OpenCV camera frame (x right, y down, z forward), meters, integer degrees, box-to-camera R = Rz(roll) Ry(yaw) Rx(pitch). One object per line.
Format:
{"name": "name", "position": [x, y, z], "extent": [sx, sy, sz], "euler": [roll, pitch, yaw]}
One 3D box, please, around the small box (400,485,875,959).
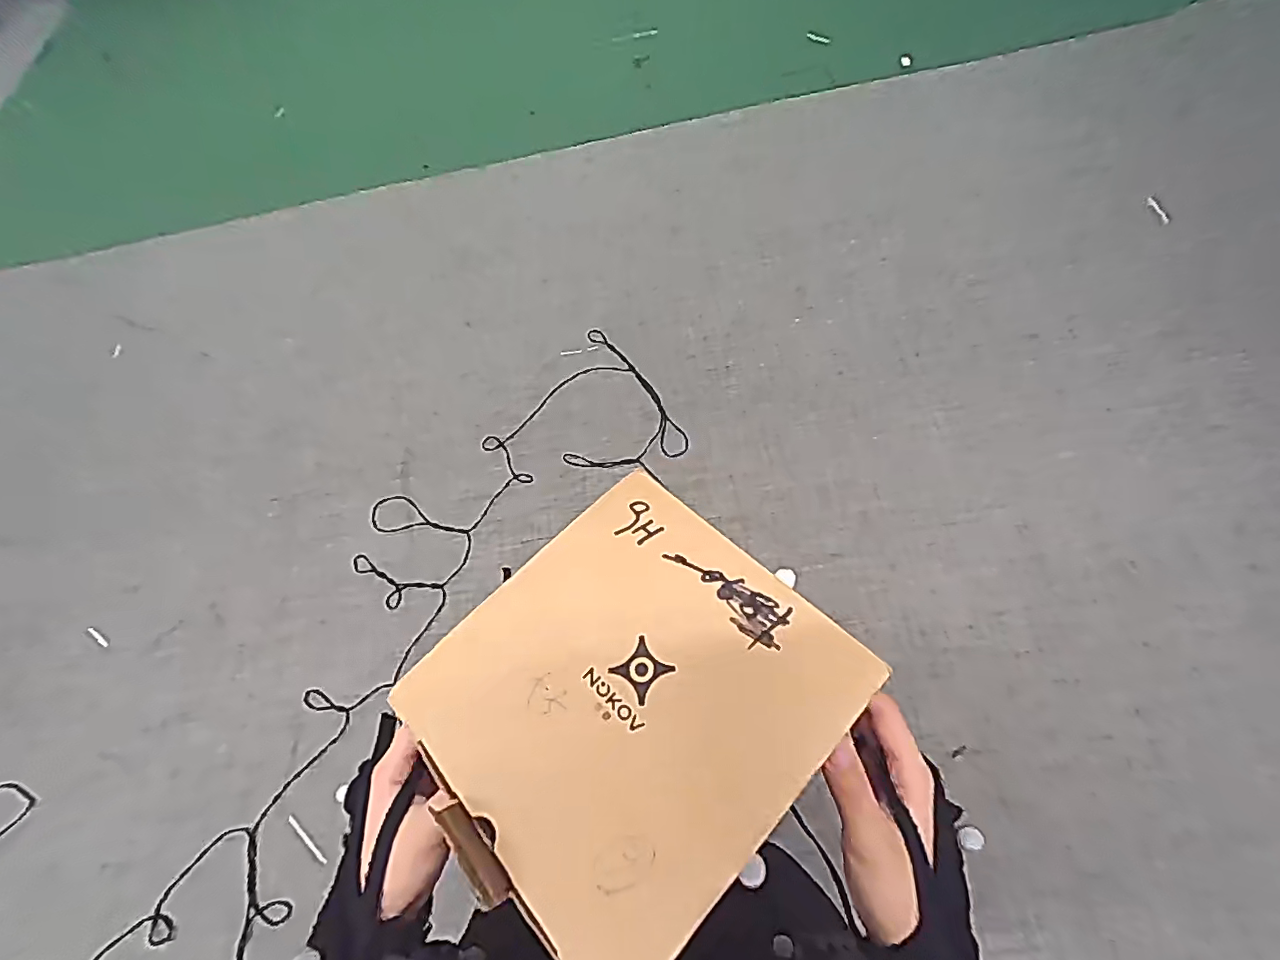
{"name": "small box", "position": [0.005, 0.143, 0.325], "extent": [0.168, 0.176, 0.179], "euler": [38, 72, 27]}
